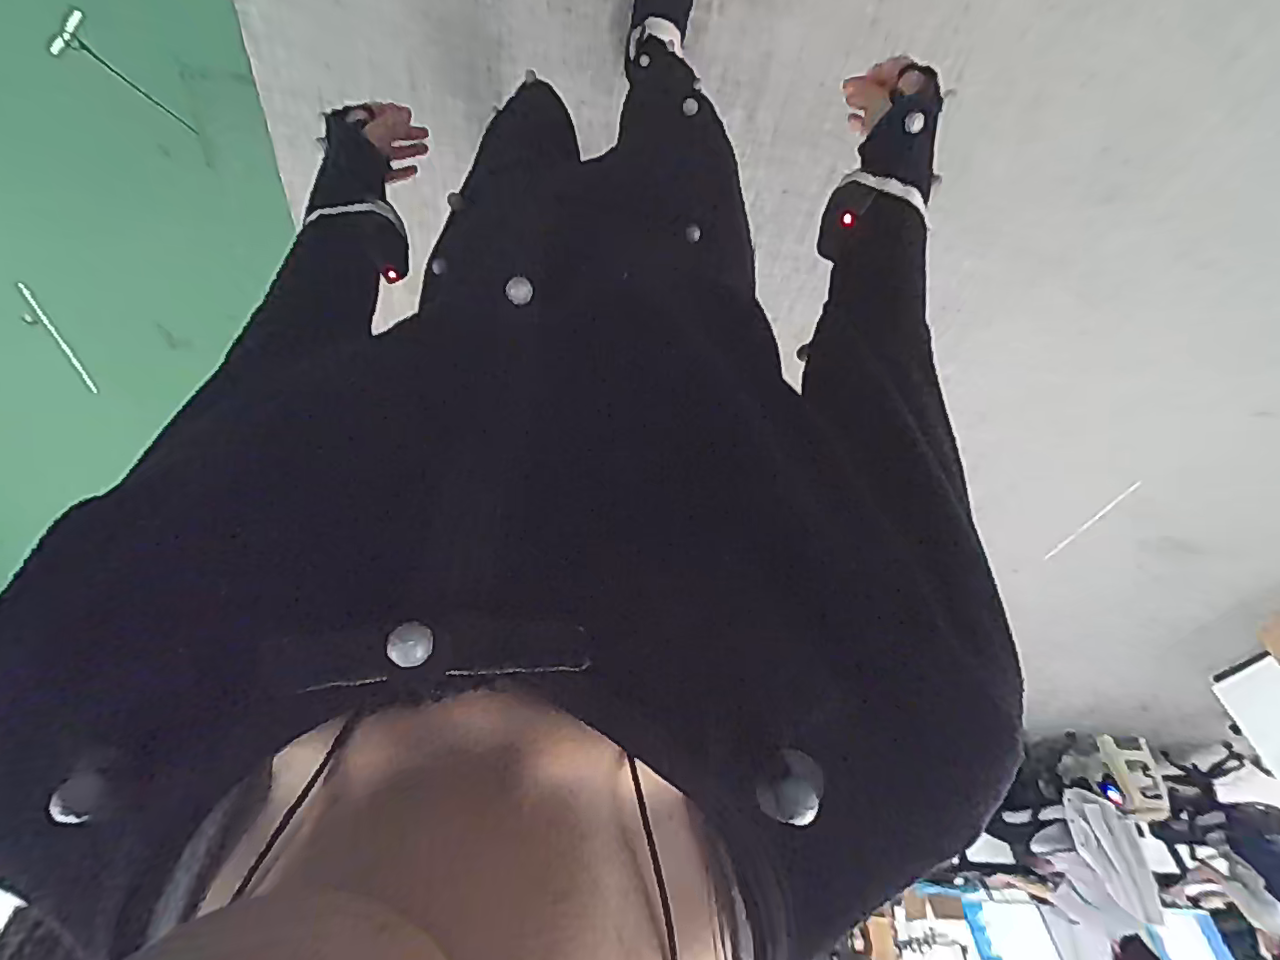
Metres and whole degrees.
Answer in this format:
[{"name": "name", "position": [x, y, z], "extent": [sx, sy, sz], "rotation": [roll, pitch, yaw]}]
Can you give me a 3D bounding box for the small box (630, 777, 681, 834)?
[{"name": "small box", "position": [0.062, 1.326, 2.205], "extent": [0.179, 0.176, 0.168], "rotation": [8, 137, -8]}]
